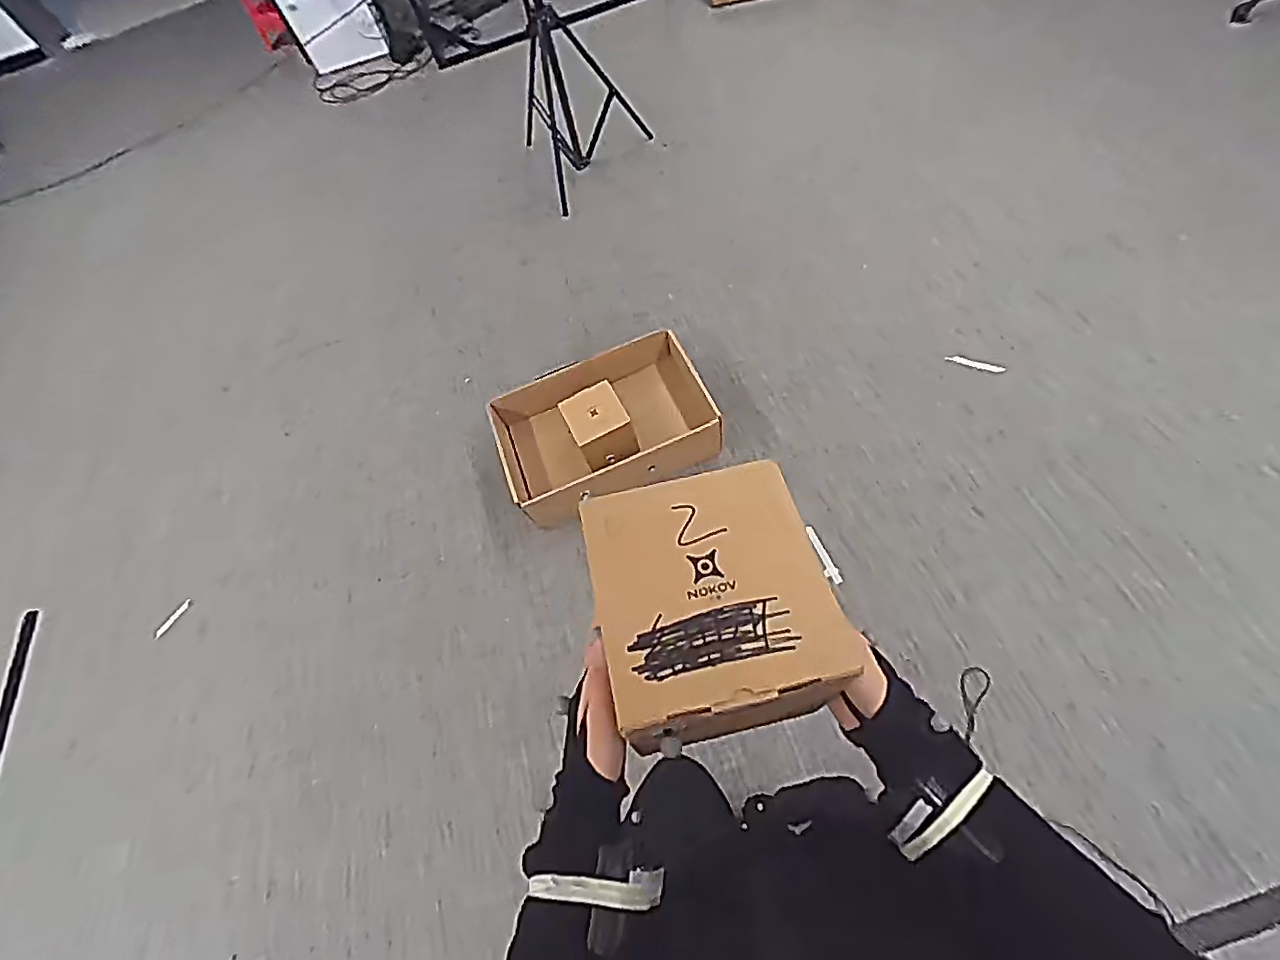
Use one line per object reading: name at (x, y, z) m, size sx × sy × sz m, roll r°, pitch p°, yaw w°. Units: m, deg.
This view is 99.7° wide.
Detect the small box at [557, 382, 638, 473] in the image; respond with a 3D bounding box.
small box at (-0.123, -0.152, 1.615) m, size 0.168 × 0.176 × 0.179 m, roll -28°, pitch 62°, yaw -4°
